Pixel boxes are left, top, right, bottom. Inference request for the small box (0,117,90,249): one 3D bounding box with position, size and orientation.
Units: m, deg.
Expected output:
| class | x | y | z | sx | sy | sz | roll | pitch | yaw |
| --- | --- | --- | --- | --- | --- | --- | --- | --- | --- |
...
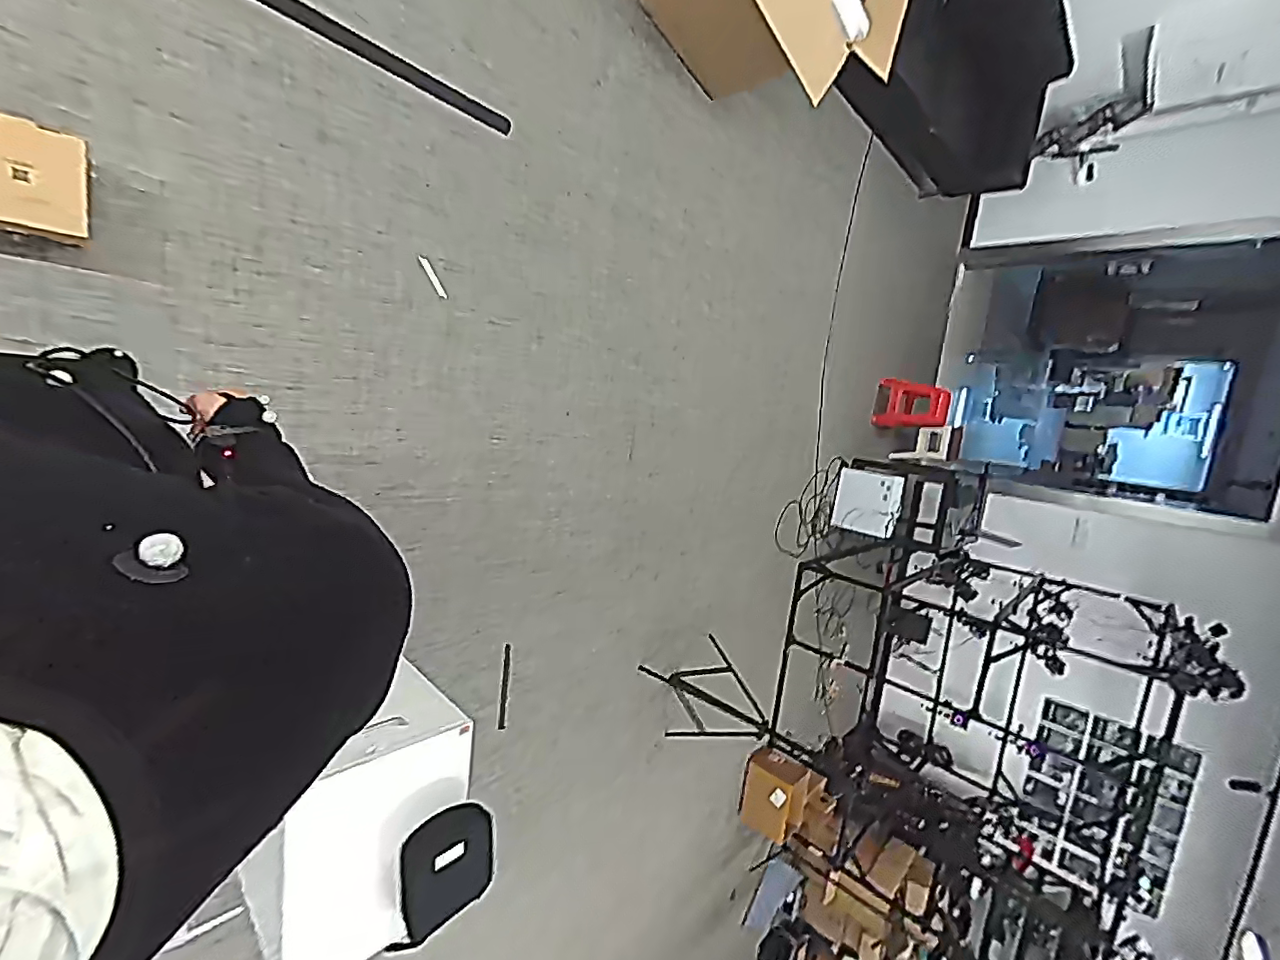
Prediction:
| class | x | y | z | sx | sy | sz | roll | pitch | yaw |
| --- | --- | --- | --- | --- | --- | --- | --- | --- | --- |
| small box | -1.132 | -0.542 | 0.991 | 0.168 | 0.176 | 0.179 | -2 | 103 | -46 |
